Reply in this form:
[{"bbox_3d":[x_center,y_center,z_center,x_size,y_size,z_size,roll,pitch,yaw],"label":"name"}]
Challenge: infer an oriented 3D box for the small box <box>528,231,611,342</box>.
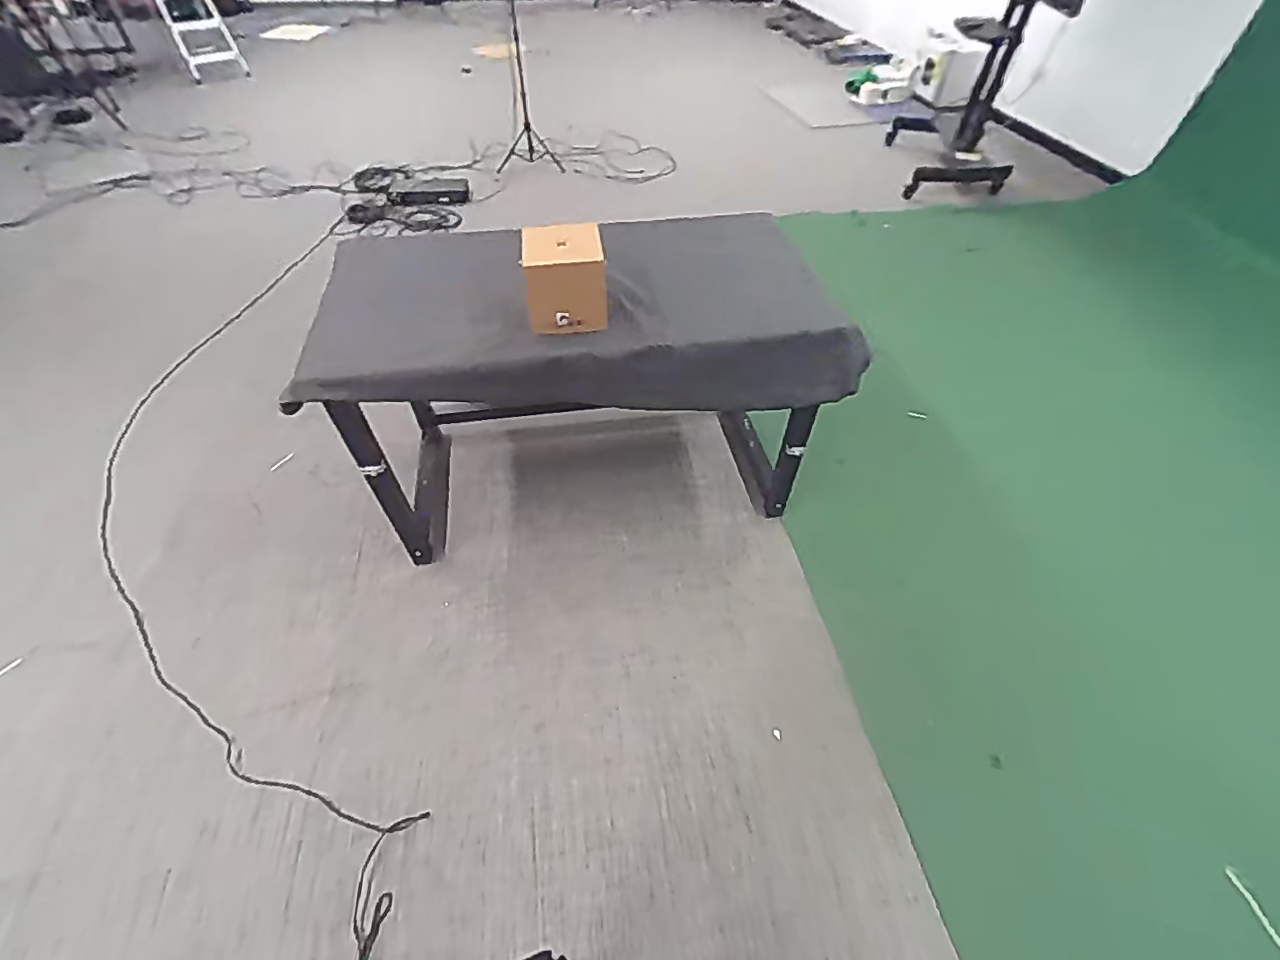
[{"bbox_3d":[-0.157,-0.431,1.208,0.168,0.176,0.179,-7,50,-5],"label":"small box"}]
